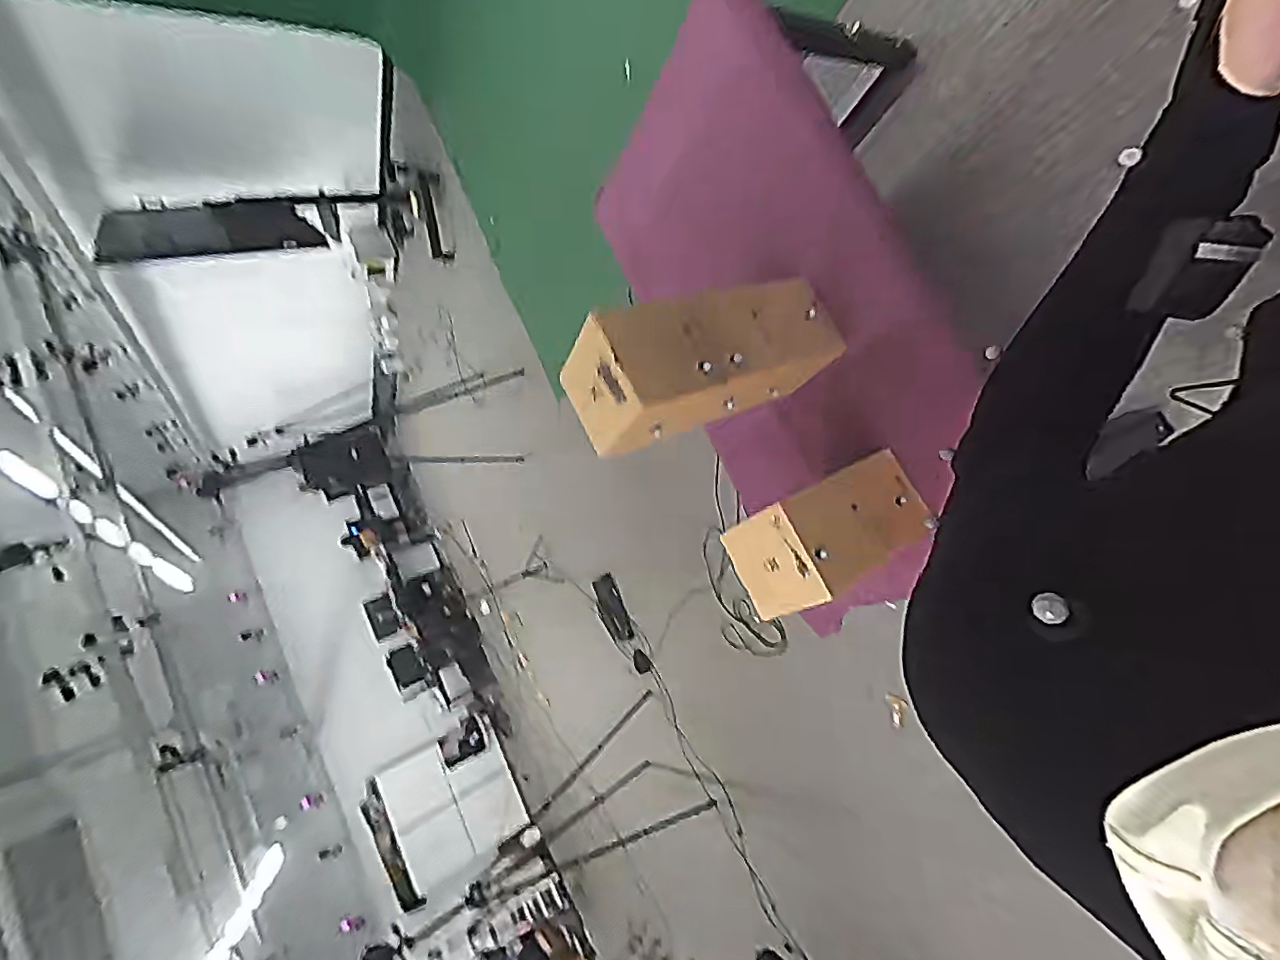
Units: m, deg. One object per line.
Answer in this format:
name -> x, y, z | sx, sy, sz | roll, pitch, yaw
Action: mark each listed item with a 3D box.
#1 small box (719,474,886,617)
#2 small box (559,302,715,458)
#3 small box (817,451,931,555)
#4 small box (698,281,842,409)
small box -> 0.274, 0.111, 0.921 | 0.168, 0.176, 0.179 | 63, 147, 11
small box -> -0.003, -0.163, 0.870 | 0.168, 0.176, 0.179 | 63, 149, 11
small box -> 0.398, 0.068, 1.019 | 0.168, 0.176, 0.179 | 62, 146, 13
small box -> 0.251, -0.263, 1.054 | 0.168, 0.176, 0.179 | 63, 147, 10
